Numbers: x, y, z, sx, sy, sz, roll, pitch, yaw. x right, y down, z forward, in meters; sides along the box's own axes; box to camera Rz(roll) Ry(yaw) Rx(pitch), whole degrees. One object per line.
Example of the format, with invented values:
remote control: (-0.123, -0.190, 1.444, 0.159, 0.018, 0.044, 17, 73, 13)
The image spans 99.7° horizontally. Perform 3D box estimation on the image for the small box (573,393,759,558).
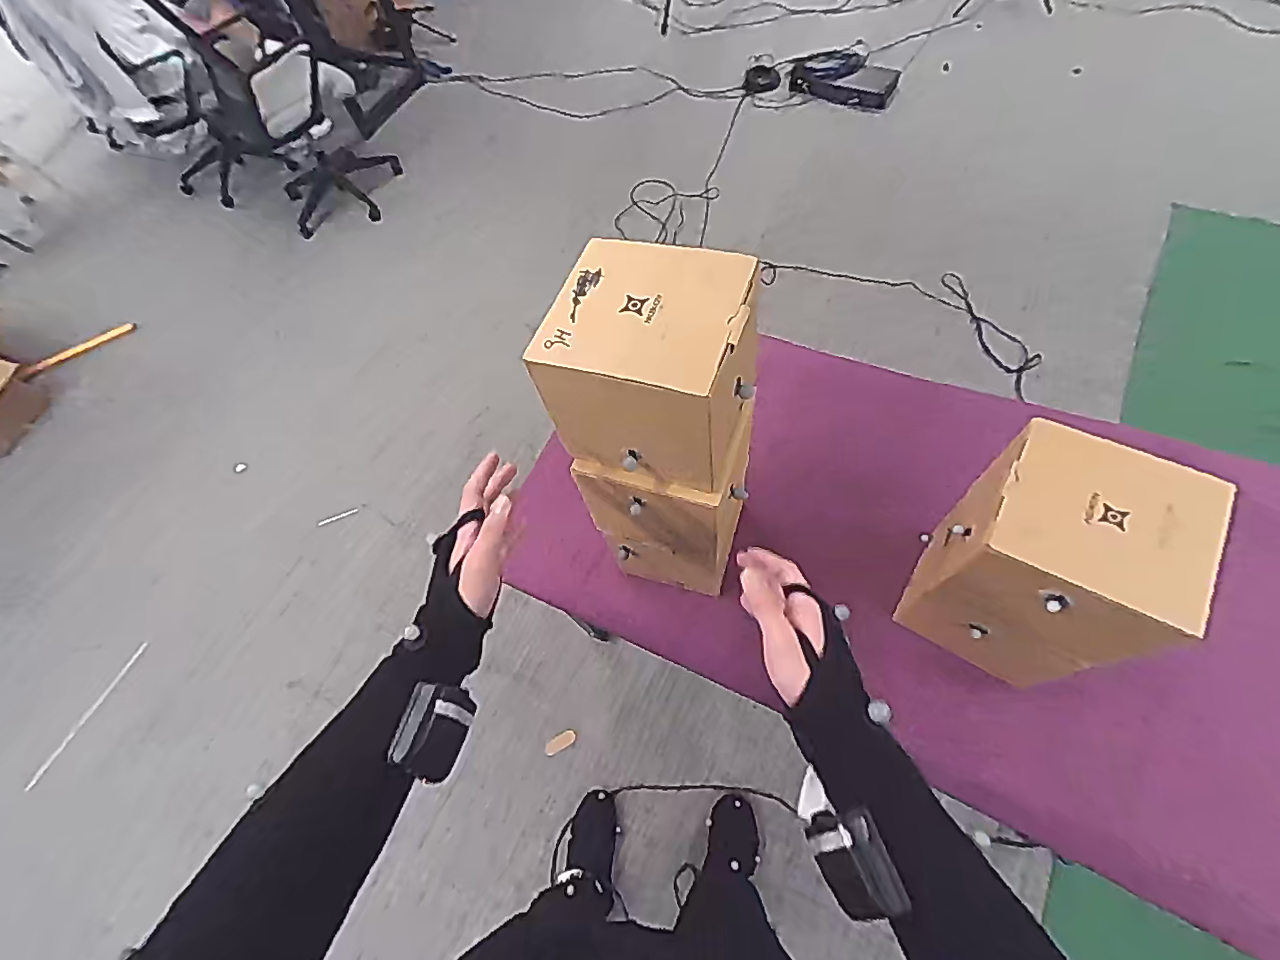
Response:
small box: (0.041, -0.015, 0.690, 0.179, 0.176, 0.168, 15, 65, 16)

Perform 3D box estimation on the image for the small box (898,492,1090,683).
small box: (0.476, 0.150, 0.721, 0.179, 0.176, 0.168, 28, 70, 21)

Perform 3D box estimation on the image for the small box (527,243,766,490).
small box: (0.018, -0.108, 0.555, 0.179, 0.176, 0.168, 15, 64, 16)

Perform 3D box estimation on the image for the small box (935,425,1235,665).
small box: (0.450, 0.077, 0.578, 0.179, 0.176, 0.168, 27, 70, 21)
